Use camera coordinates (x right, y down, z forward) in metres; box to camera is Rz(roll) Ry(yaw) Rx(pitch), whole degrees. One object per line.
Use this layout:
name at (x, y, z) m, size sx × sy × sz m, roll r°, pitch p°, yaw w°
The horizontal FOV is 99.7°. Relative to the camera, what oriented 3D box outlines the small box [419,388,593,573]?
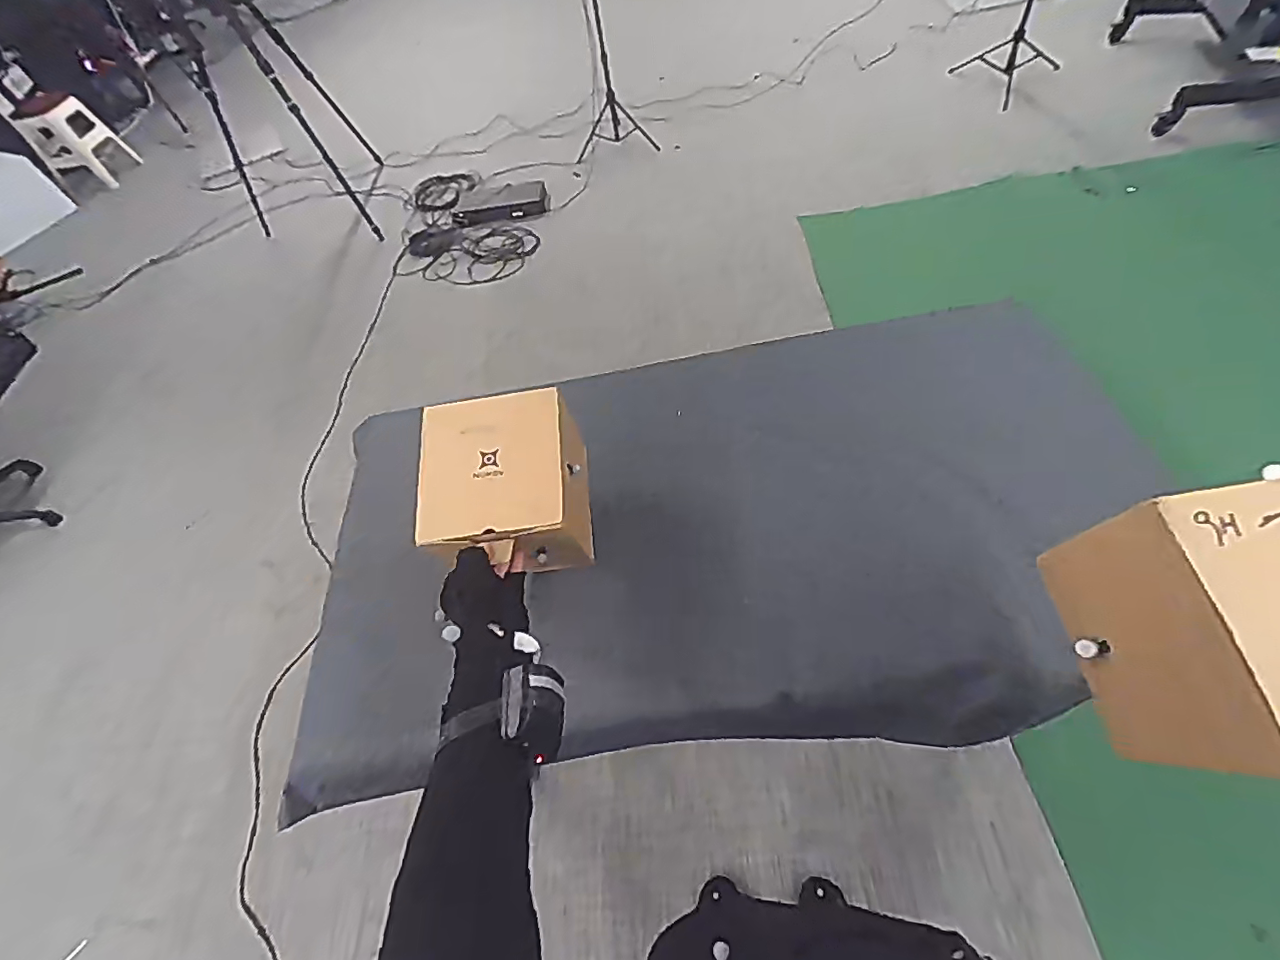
small box at (-0.157, 0.012, 0.681) m, size 0.168 × 0.176 × 0.179 m, roll -8°, pitch 65°, yaw 3°
